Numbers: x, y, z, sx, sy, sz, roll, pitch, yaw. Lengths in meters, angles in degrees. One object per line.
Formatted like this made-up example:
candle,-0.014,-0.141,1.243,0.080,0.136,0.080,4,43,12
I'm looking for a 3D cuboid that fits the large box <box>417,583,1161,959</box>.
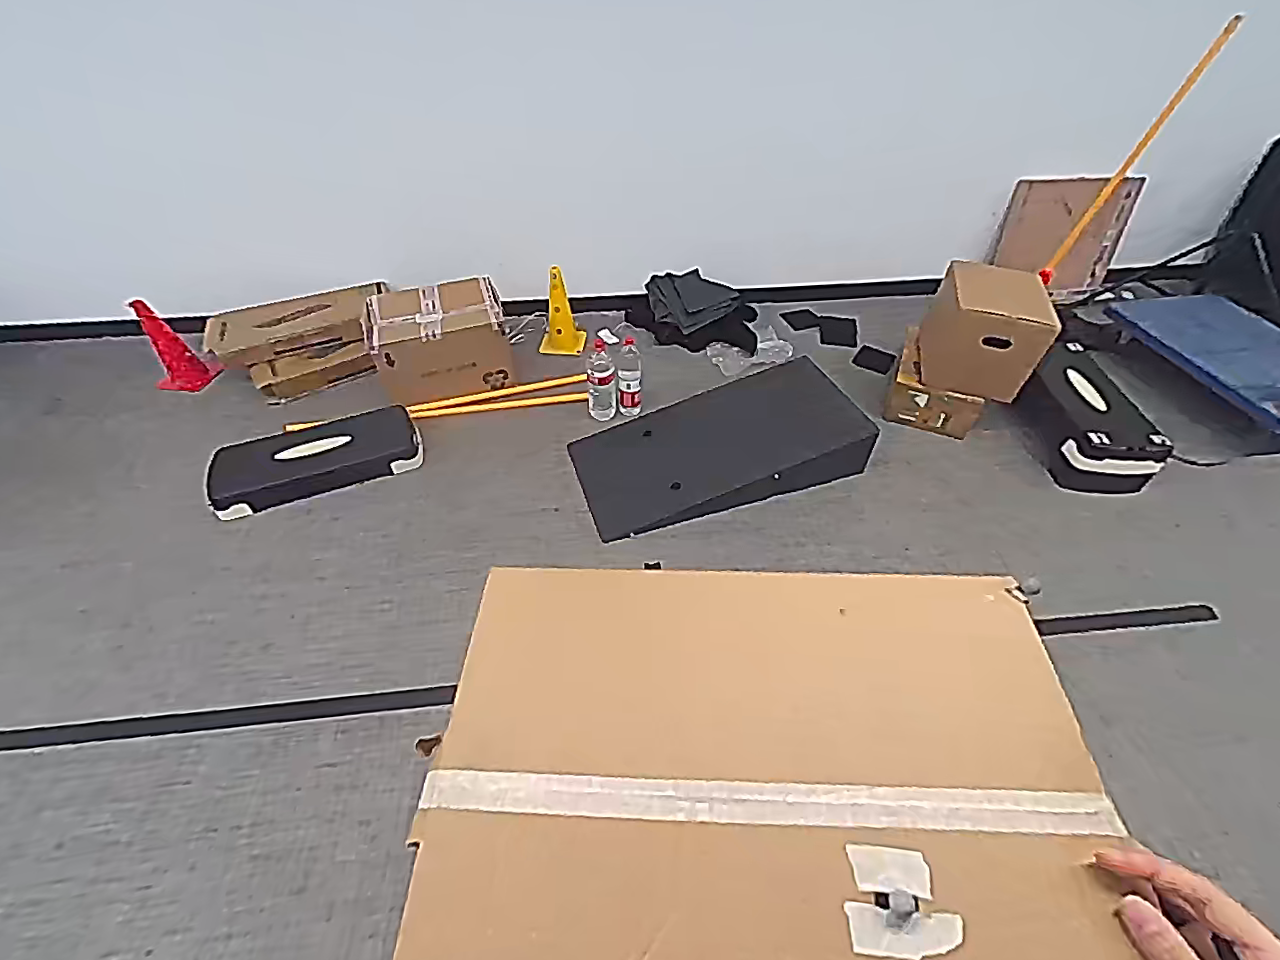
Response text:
large box,0.081,0.296,0.449,0.408,0.320,0.320,0,52,3
